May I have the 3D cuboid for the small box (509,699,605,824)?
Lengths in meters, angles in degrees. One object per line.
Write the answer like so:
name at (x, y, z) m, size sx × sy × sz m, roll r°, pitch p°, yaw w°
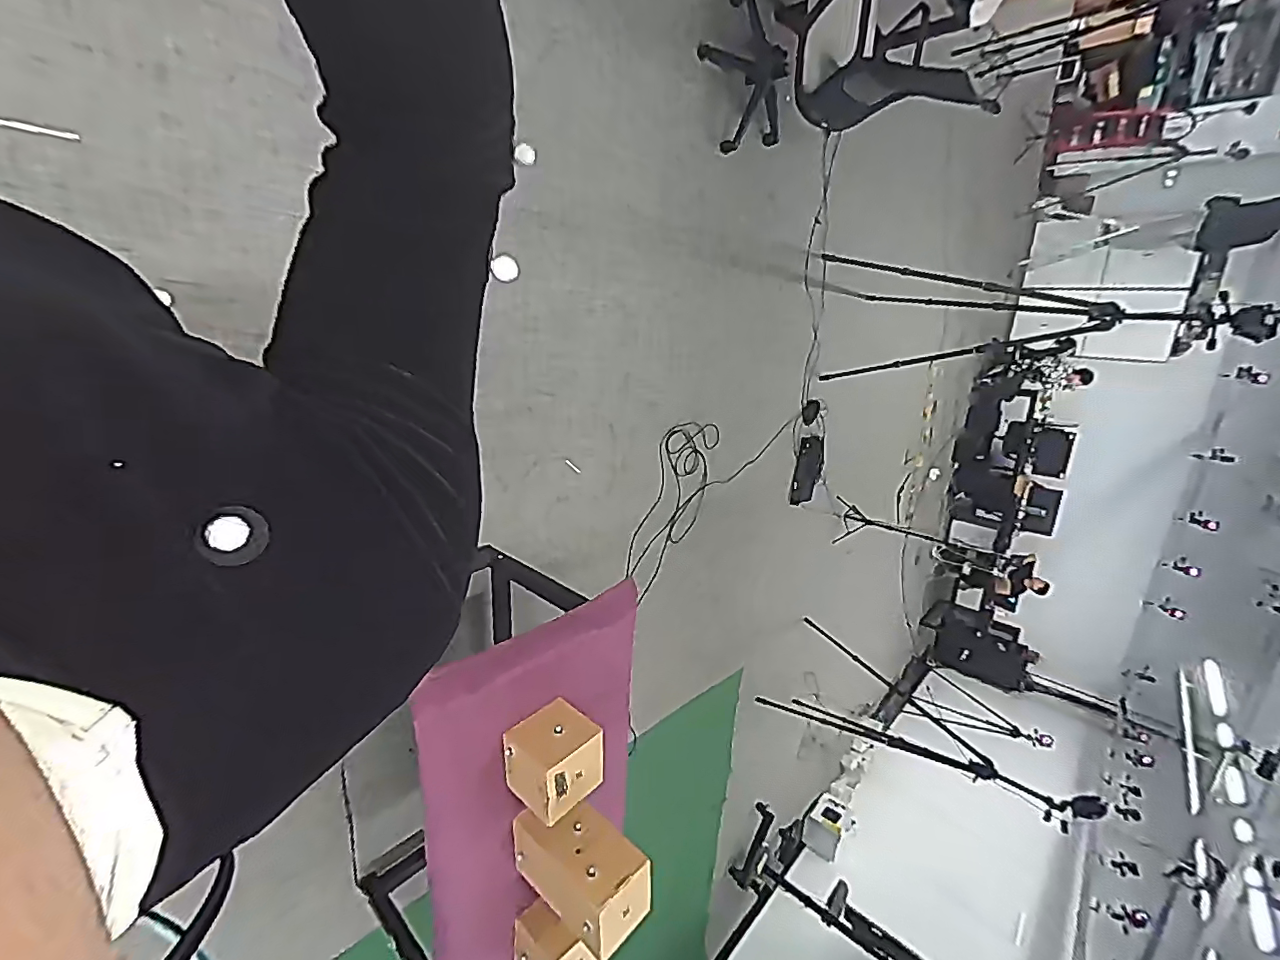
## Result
small box at (-0.205, 0.676, 1.320) m, size 0.179 × 0.176 × 0.168 m, roll -19°, pitch 117°, yaw -45°

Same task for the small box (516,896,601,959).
small box at (-0.222, 1.276, 1.505) m, size 0.179 × 0.176 × 0.168 m, roll -11°, pitch 110°, yaw -47°

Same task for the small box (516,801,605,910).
small box at (-0.208, 0.943, 1.410) m, size 0.168 × 0.176 × 0.179 m, roll -18°, pitch 116°, yaw -45°

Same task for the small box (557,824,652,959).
small box at (-0.088, 0.976, 1.304) m, size 0.168 × 0.176 × 0.179 m, roll -18°, pitch 115°, yaw -43°
